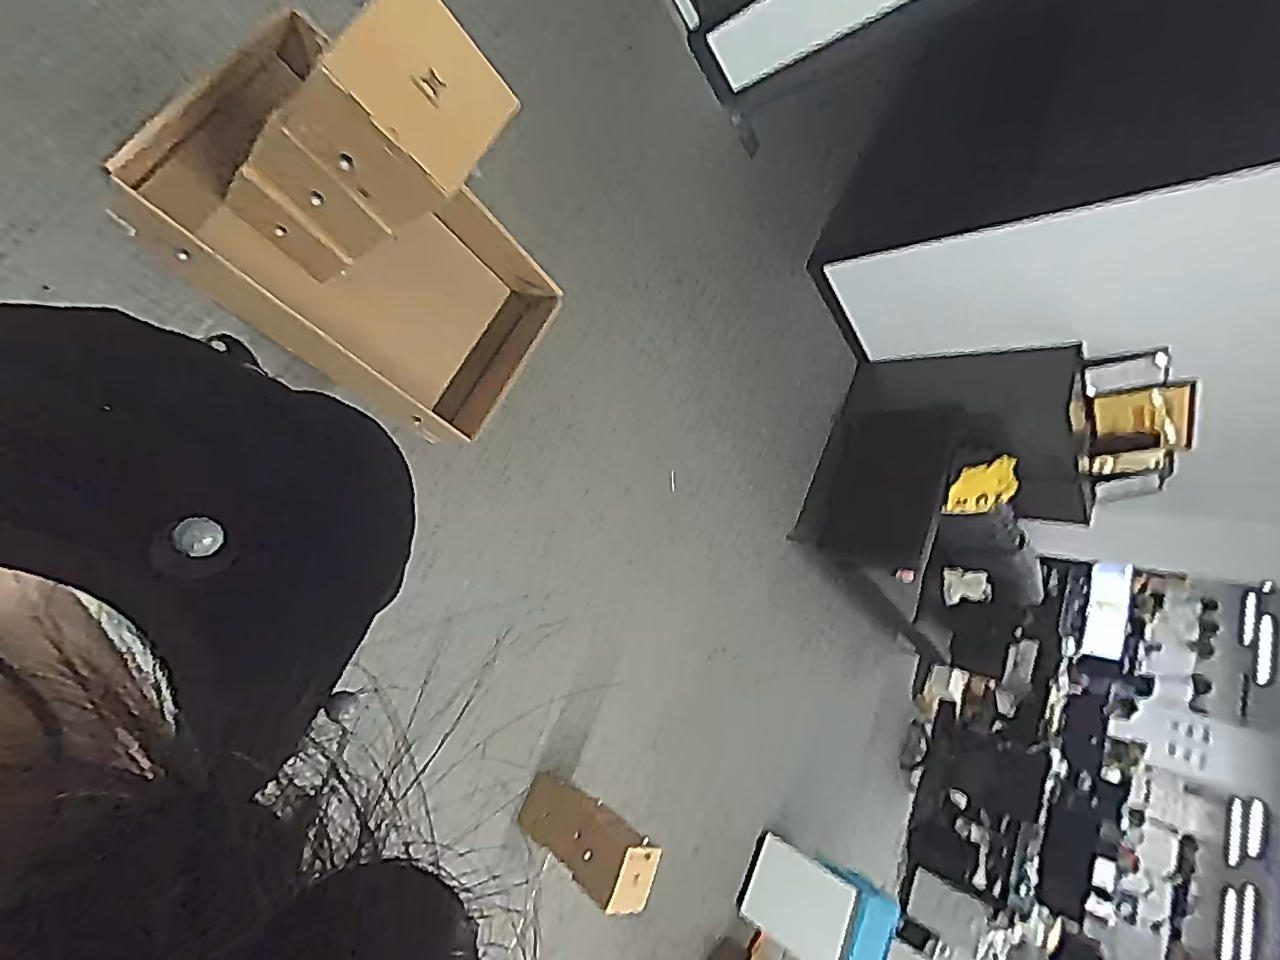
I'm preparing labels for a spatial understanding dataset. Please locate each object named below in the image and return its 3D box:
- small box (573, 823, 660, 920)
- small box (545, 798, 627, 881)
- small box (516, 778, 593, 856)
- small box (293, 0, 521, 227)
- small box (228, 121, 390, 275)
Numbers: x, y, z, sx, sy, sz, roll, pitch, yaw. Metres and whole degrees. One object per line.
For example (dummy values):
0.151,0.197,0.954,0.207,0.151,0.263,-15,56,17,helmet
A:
-0.077,1.171,1.624,0.168,0.176,0.179,38,69,-39,small box
-0.179,1.164,1.752,0.168,0.176,0.179,40,67,-38,small box
-0.298,1.162,1.866,0.168,0.176,0.179,40,67,-39,small box
-0.288,-0.451,0.665,0.168,0.176,0.179,41,67,-39,small box
-0.527,-0.460,0.888,0.179,0.176,0.168,44,65,-38,small box
